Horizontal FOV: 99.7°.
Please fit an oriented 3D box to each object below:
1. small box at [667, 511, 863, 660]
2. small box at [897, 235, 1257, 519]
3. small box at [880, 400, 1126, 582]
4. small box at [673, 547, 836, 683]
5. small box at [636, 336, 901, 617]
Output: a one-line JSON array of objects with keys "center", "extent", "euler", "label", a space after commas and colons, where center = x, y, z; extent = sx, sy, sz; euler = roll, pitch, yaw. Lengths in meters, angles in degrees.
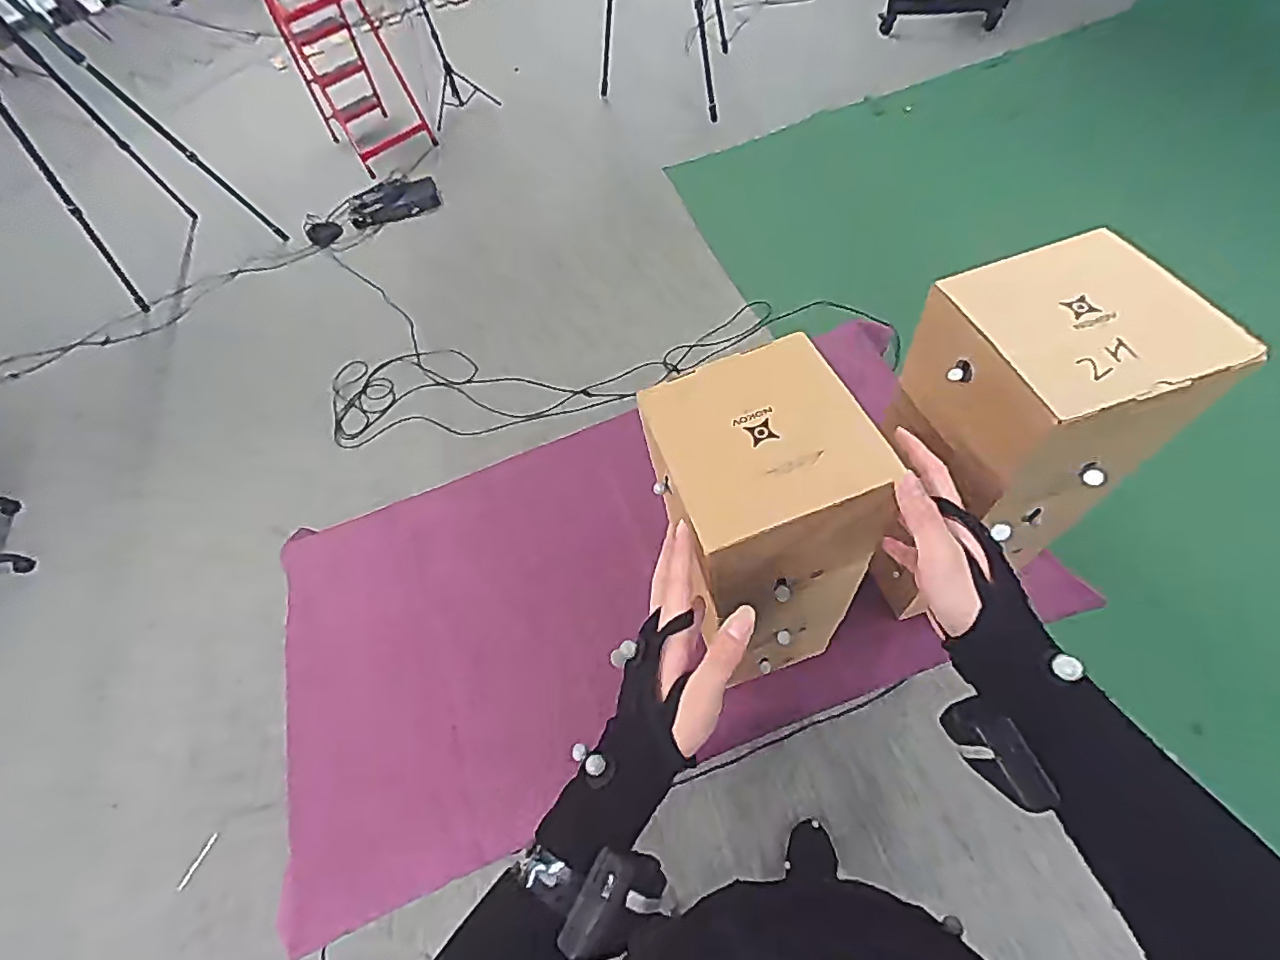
[{"center": [0.135, 0.090, 0.648], "extent": [0.168, 0.176, 0.179], "euler": [-20, 57, -1], "label": "small box"}, {"center": [0.375, -0.090, 0.515], "extent": [0.168, 0.176, 0.179], "euler": [-17, 58, 0], "label": "small box"}, {"center": [0.401, -0.003, 0.652], "extent": [0.168, 0.176, 0.179], "euler": [-18, 57, 0], "label": "small box"}, {"center": [0.160, 0.178, 0.784], "extent": [0.168, 0.176, 0.179], "euler": [-20, 56, -2], "label": "small box"}, {"center": [0.108, 0.003, 0.513], "extent": [0.168, 0.176, 0.179], "euler": [-20, 57, -1], "label": "small box"}]
